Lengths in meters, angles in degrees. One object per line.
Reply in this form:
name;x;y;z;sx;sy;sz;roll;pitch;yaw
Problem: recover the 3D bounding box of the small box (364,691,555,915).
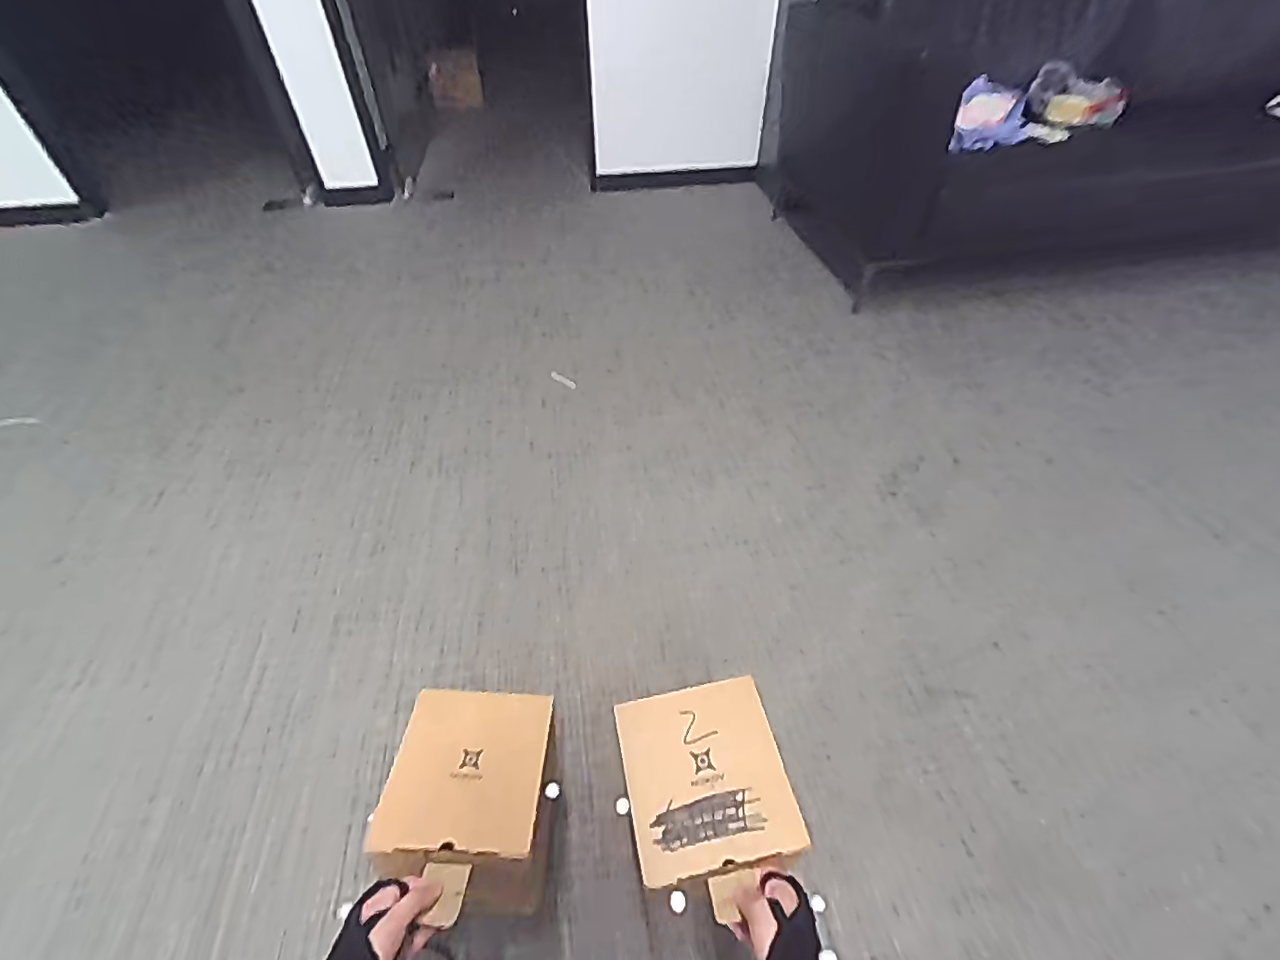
small box;-0.196;0.382;0.645;0.168;0.176;0.179;4;37;-2
